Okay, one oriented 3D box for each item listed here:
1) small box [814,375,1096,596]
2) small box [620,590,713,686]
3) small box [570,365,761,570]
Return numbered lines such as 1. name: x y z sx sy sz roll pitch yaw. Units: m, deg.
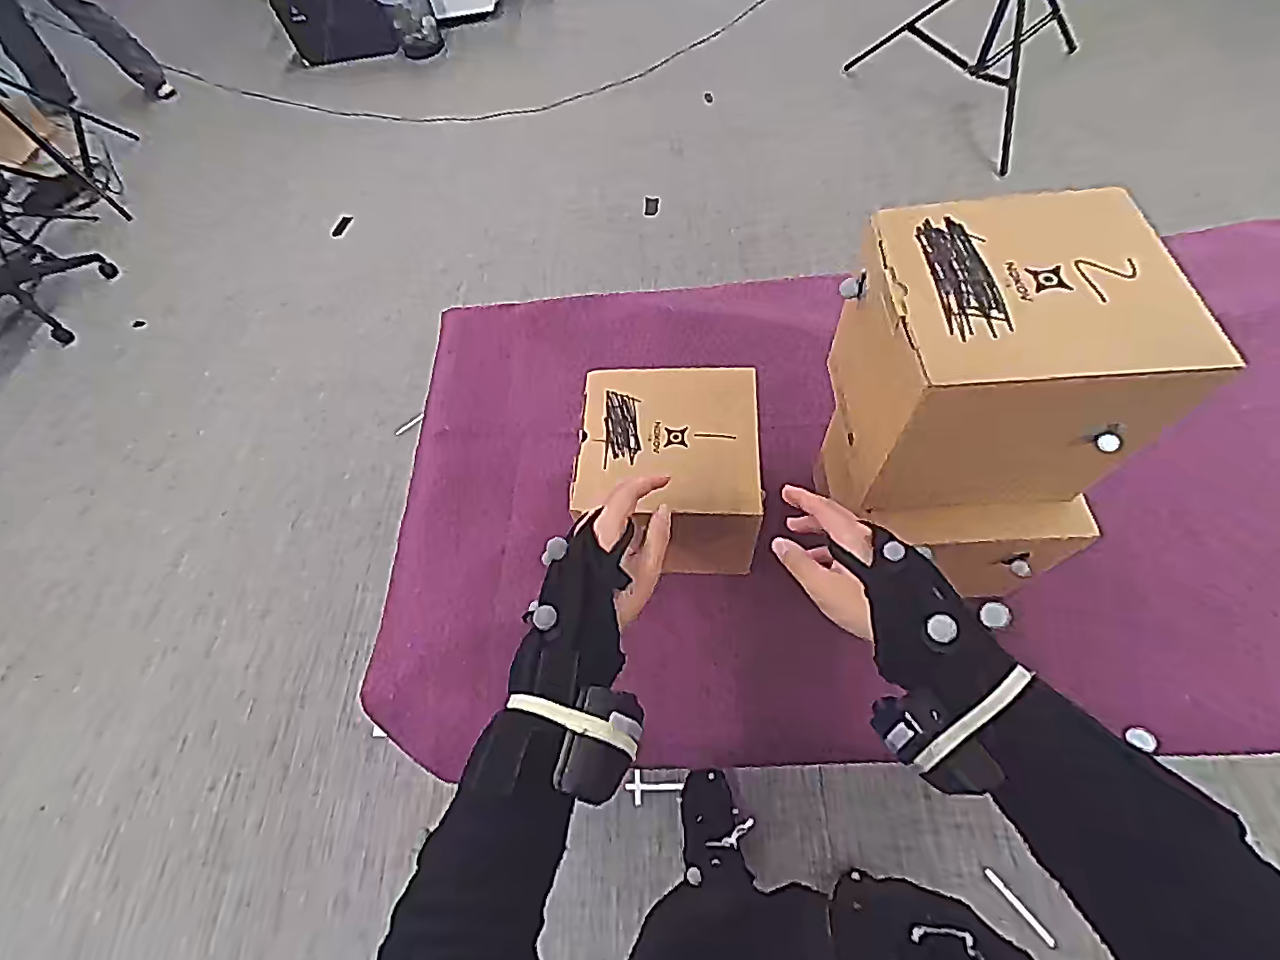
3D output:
1. small box: 0.290 0.014 0.547 0.179 0.176 0.168 -3 60 5
2. small box: 0.055 0.330 1.117 0.179 0.176 0.168 -4 63 5
3. small box: 0.035 -0.007 0.590 0.179 0.176 0.168 1 62 6
